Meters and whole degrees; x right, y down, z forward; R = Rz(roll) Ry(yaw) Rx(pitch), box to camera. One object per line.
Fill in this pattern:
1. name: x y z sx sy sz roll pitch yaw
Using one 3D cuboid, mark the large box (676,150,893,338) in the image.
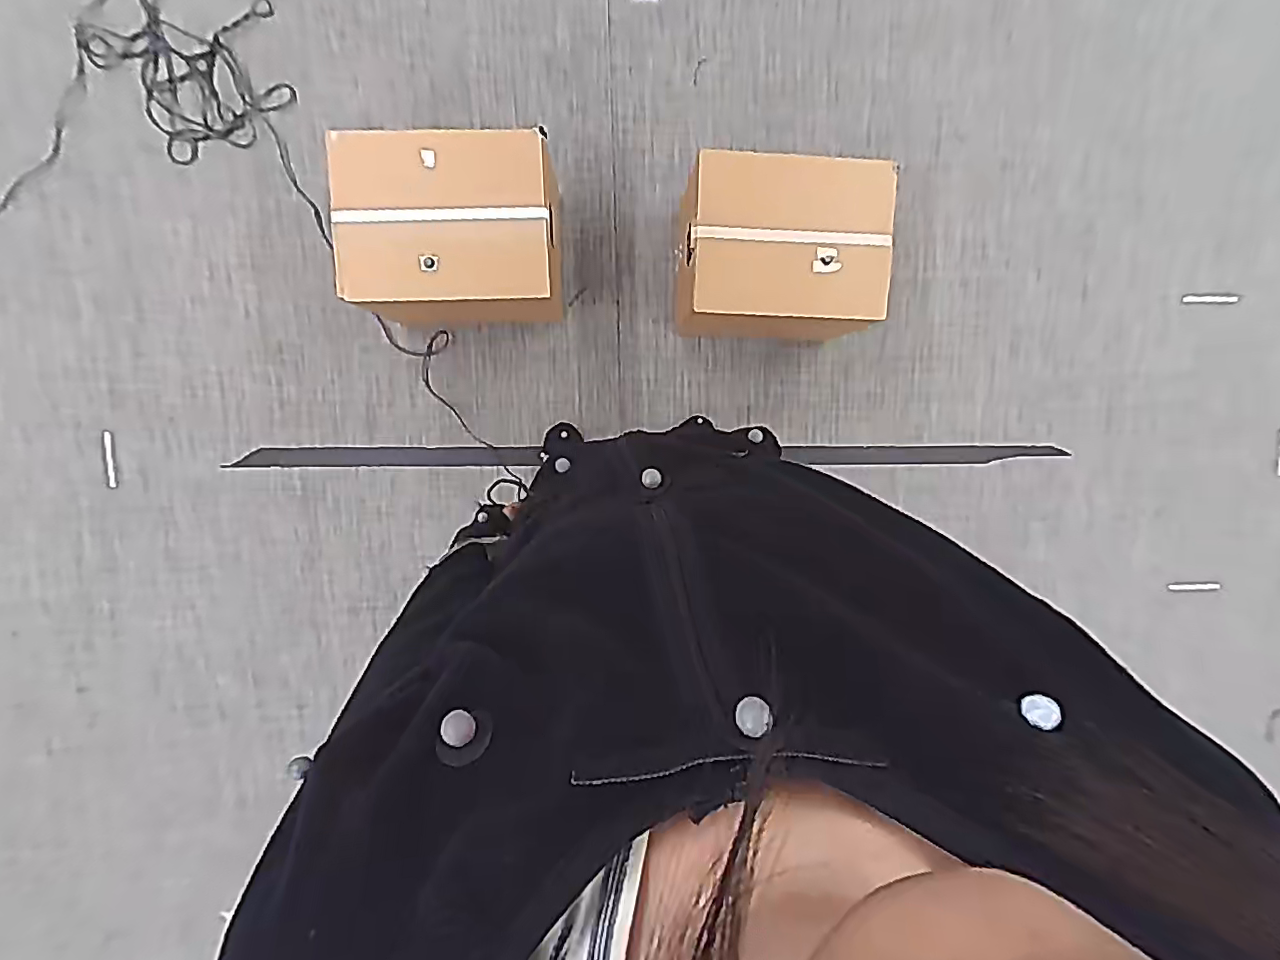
1. large box: 0.300 -0.511 1.241 0.408 0.320 0.320 1 97 -5
